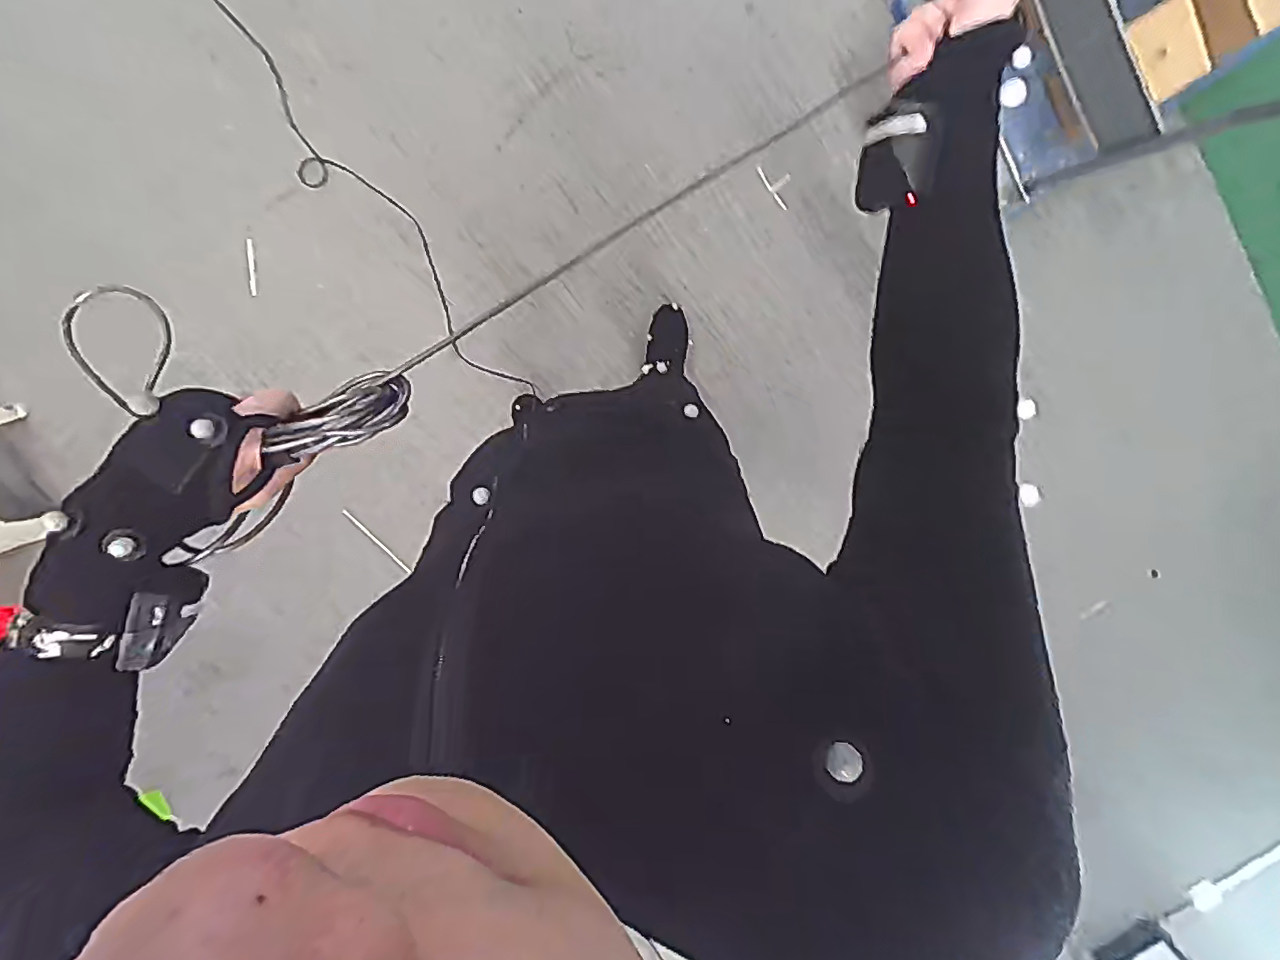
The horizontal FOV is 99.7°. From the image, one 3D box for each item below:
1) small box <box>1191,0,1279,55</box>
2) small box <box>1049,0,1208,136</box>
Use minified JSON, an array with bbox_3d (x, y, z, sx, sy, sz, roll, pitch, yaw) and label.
[{"bbox_3d":[1.288,-1.056,1.159,0.179,0.176,0.168,-37,102,8],"label":"small box"},{"bbox_3d":[1.065,-0.907,1.191,0.179,0.176,0.168,-33,104,7],"label":"small box"}]
